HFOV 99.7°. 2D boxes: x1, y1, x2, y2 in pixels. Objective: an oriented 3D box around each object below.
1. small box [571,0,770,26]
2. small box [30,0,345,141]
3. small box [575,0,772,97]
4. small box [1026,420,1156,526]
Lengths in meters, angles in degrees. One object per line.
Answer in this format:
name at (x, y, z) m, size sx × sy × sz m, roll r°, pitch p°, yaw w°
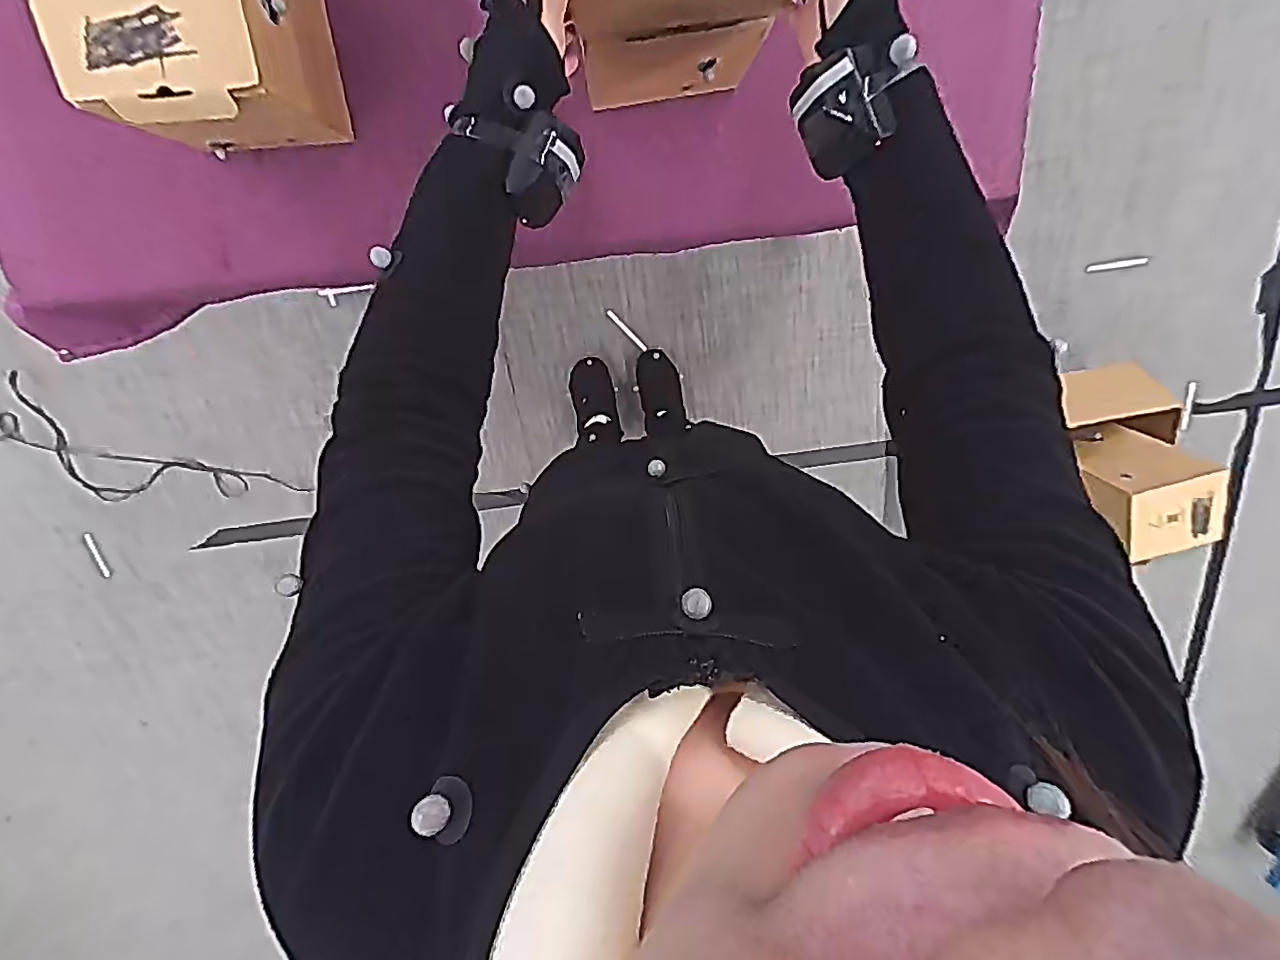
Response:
small box at (0.026, -0.428, 0.345) m, size 0.179 × 0.176 × 0.168 m, roll -7°, pitch 111°, yaw -1°
small box at (-0.403, -0.429, 0.496) m, size 0.168 × 0.176 × 0.179 m, roll -5°, pitch 109°, yaw -1°
small box at (0.017, -0.482, 0.499) m, size 0.168 × 0.176 × 0.179 m, roll -8°, pitch 109°, yaw 0°
small box at (1.070, -0.028, 1.295) m, size 0.168 × 0.176 × 0.179 m, roll -27°, pitch 112°, yaw 11°
